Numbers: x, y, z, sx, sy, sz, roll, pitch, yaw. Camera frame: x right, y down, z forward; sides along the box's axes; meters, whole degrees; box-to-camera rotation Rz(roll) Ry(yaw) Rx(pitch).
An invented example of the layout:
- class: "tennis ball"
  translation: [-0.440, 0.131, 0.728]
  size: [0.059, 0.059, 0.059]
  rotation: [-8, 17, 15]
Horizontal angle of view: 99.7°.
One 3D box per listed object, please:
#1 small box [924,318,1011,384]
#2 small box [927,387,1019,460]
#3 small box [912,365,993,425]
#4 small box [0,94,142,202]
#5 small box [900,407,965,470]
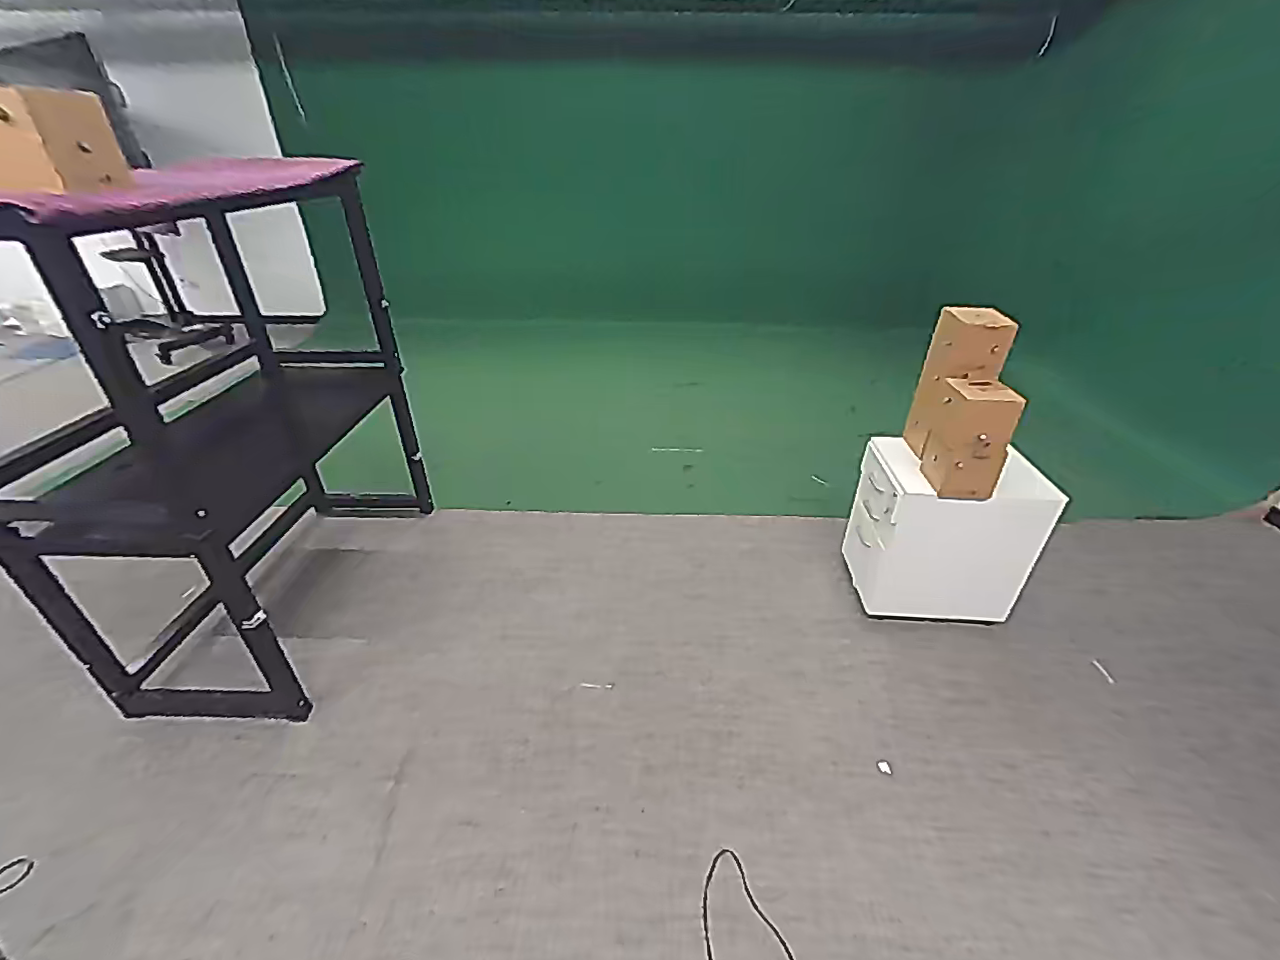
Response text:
- class: "small box"
  translation: [1.075, -0.427, 1.790]
  size: [0.168, 0.176, 0.179]
  rotation: [3, 33, 1]
- class: "small box"
  translation: [1.027, -0.178, 1.687]
  size: [0.168, 0.176, 0.179]
  rotation: [3, 31, 3]
- class: "small box"
  translation: [1.074, -0.291, 1.879]
  size: [0.168, 0.176, 0.179]
  rotation: [3, 34, 3]
- class: "small box"
  translation: [-1.147, -0.644, 1.056]
  size: [0.179, 0.176, 0.168]
  rotation: [1, 30, 0]
- class: "small box"
  translation: [1.074, -0.152, 1.966]
  size: [0.168, 0.176, 0.179]
  rotation: [2, 33, 2]
